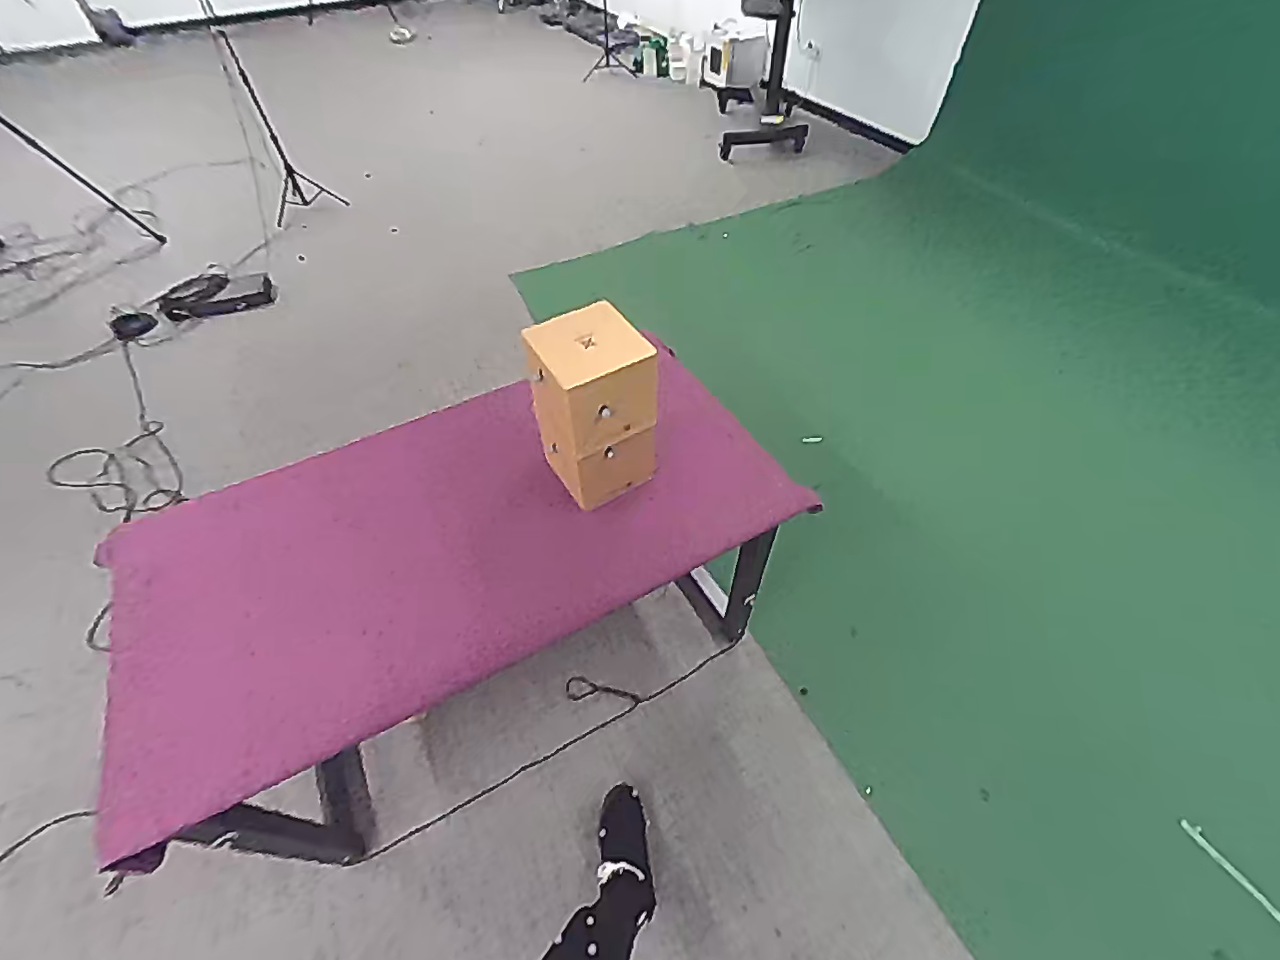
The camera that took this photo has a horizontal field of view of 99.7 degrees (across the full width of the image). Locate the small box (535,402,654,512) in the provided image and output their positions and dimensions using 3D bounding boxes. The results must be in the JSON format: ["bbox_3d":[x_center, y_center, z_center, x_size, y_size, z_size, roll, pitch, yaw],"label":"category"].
[{"bbox_3d":[-0.087,-0.070,1.058,0.168,0.176,0.179,-27,55,-19],"label":"small box"}]

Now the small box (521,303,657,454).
[{"bbox_3d":[-0.081,-0.166,0.926,0.168,0.176,0.179,-26,55,-18],"label":"small box"}]
